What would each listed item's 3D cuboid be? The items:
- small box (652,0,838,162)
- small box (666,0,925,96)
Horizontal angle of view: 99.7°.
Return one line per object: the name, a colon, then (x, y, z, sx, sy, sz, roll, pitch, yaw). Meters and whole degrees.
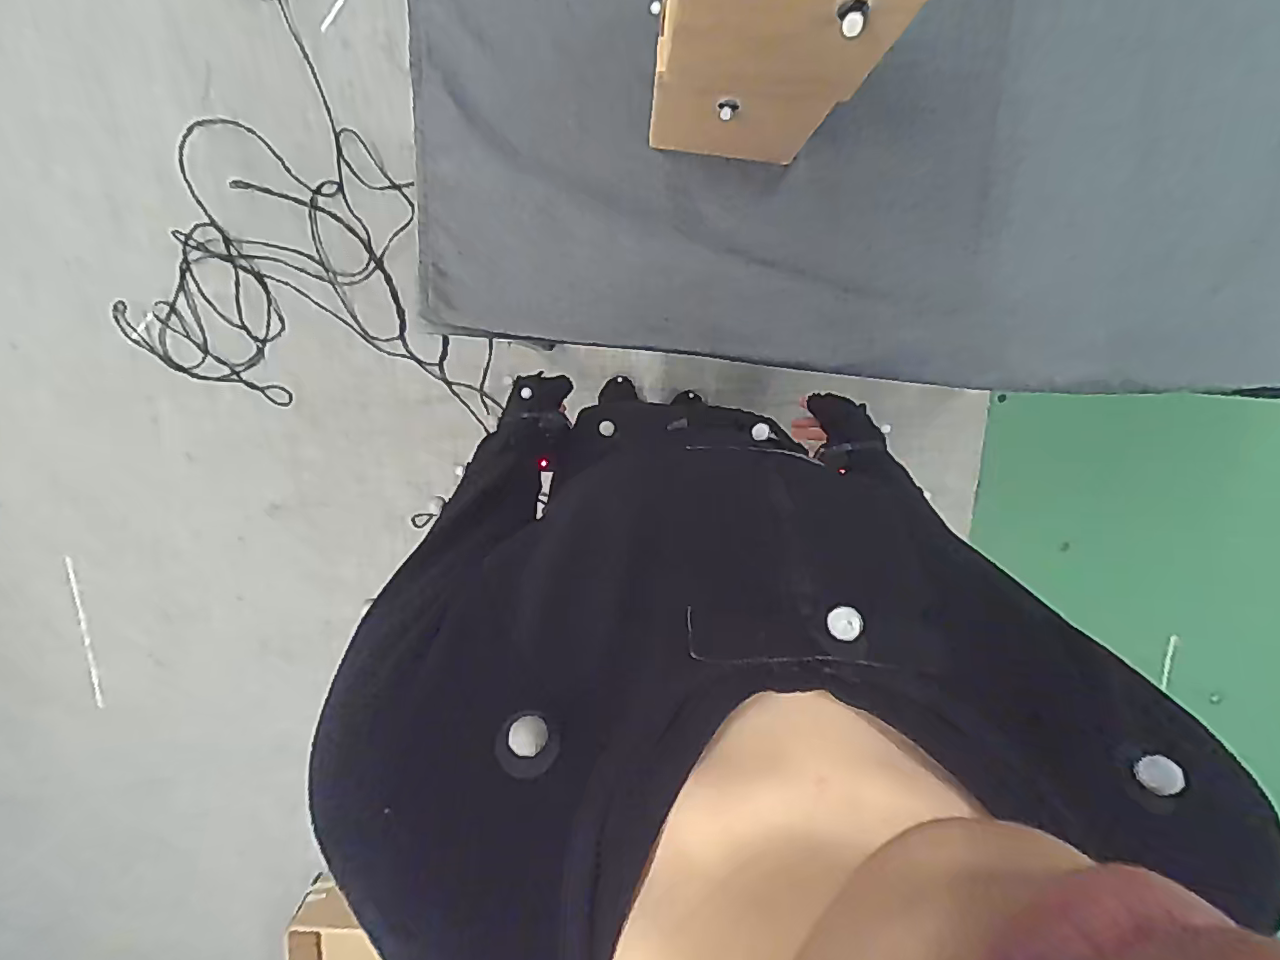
small box: (0.109, -0.467, 0.578, 0.179, 0.176, 0.168, 6, 100, -3)
small box: (0.120, -0.432, 0.417, 0.179, 0.176, 0.168, 4, 100, -3)
